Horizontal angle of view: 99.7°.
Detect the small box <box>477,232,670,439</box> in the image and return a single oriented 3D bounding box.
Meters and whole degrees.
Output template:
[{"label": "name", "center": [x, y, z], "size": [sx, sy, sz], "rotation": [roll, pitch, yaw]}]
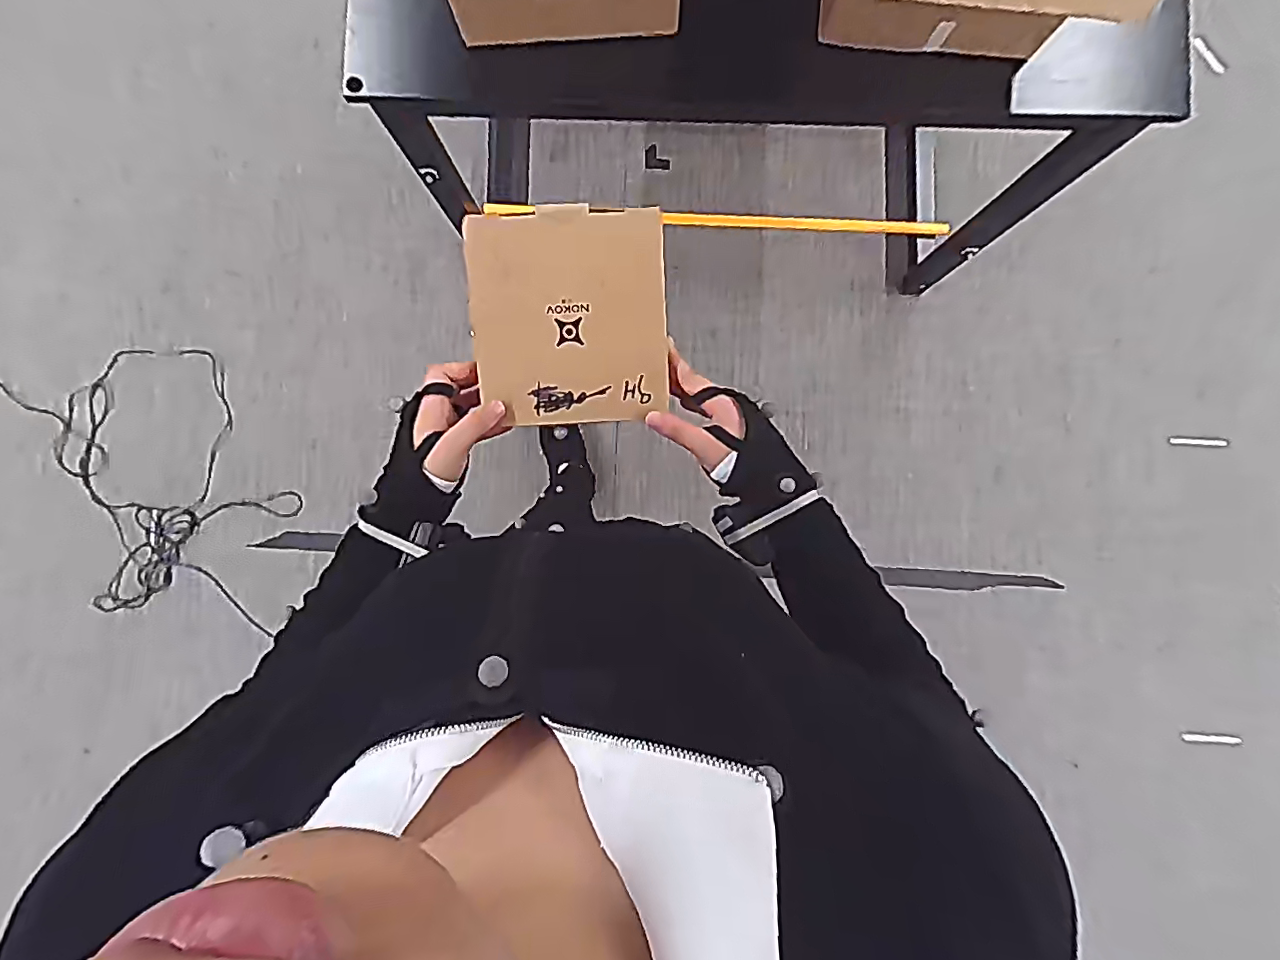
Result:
[{"label": "small box", "center": [-0.060, -0.138, 0.557], "size": [0.168, 0.176, 0.179], "rotation": [-3, 100, -1]}]
